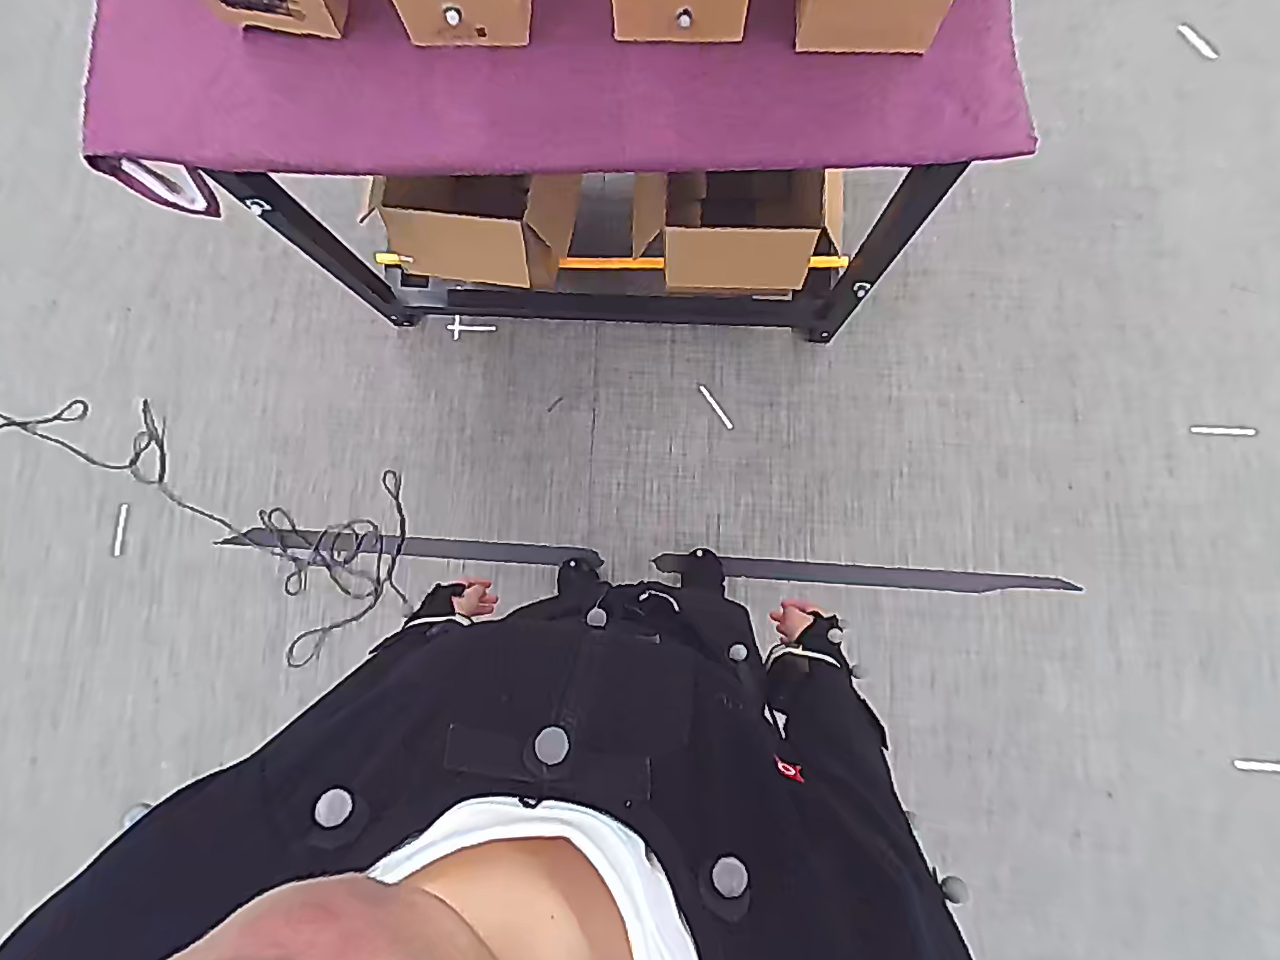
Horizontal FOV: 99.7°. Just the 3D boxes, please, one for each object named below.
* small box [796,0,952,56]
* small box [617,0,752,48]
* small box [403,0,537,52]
[{"bbox_3d":[0.303,-0.665,0.663,0.179,0.176,0.168,4,81,3],"label":"small box"},{"bbox_3d":[0.059,-0.691,0.676,0.179,0.176,0.168,4,82,3],"label":"small box"},{"bbox_3d":[-0.229,-0.703,0.692,0.168,0.176,0.179,2,84,3],"label":"small box"}]
